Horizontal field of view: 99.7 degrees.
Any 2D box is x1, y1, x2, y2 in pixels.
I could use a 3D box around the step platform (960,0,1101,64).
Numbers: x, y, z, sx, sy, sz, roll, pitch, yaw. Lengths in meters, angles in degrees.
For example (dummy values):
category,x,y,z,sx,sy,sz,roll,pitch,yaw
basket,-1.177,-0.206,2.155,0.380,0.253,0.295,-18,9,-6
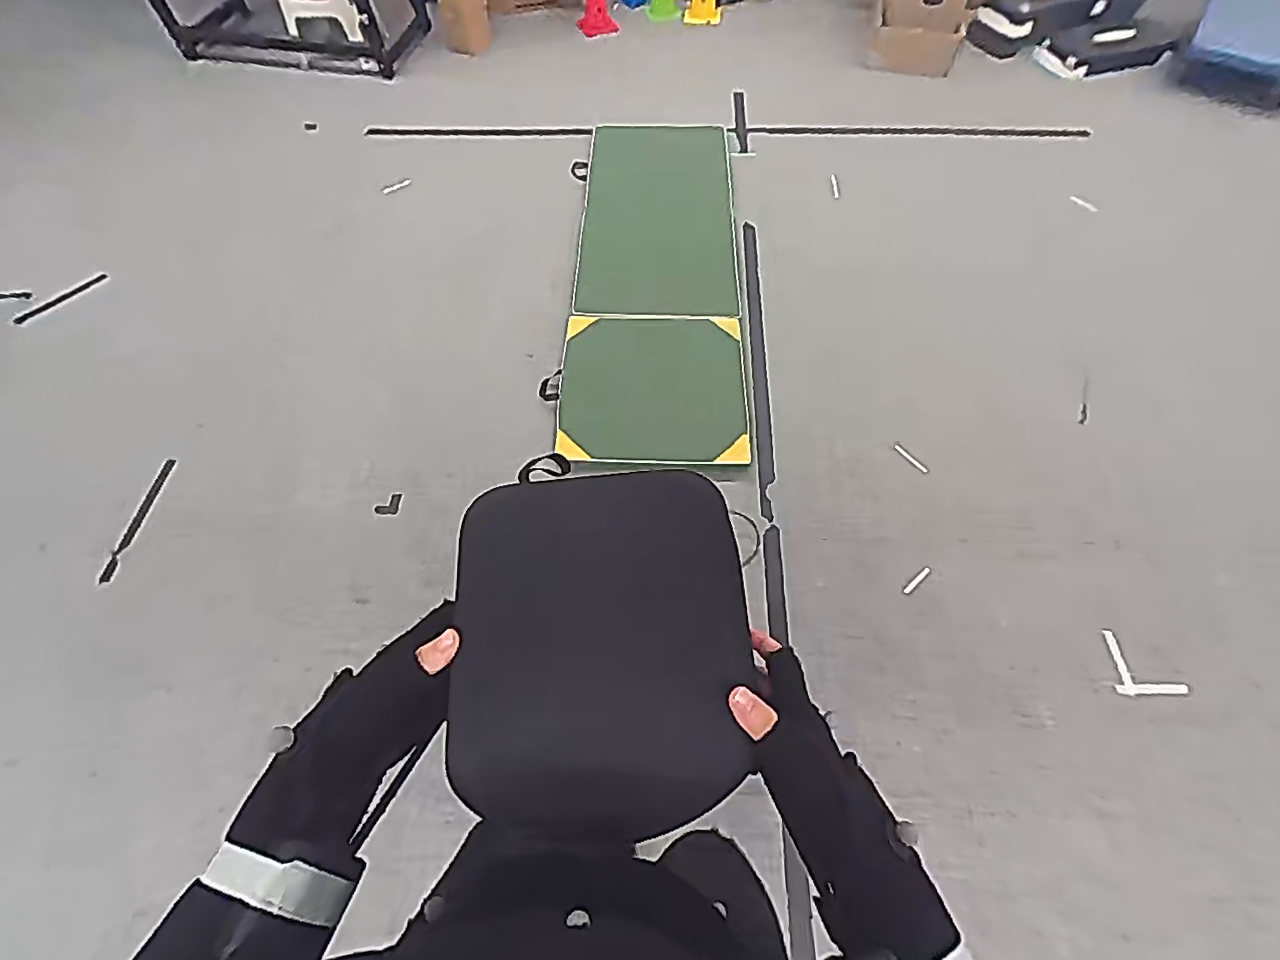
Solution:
category,x,y,z,sx,sy,sz,roll,pitch,yaw
step platform,2.073,-2.443,2.859,0.684,0.204,0.286,-25,64,-12
